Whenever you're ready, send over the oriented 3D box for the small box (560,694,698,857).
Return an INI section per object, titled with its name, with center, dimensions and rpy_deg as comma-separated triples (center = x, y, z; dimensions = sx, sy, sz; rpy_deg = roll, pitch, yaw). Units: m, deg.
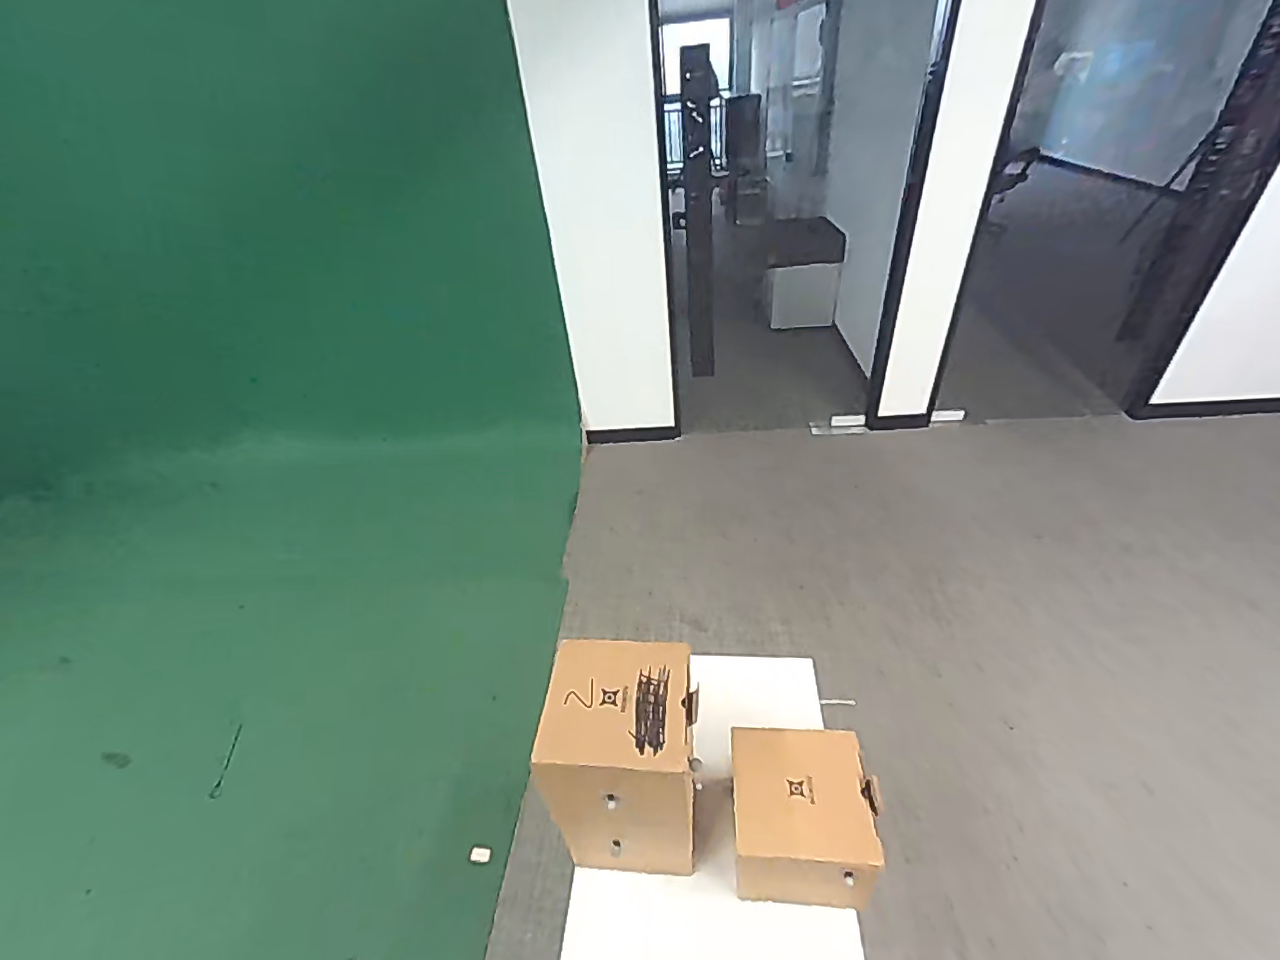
[small box]
center = -0.005, 0.442, 0.810
dimensions = 0.179, 0.176, 0.168
rpy_deg = -1, 39, 7
